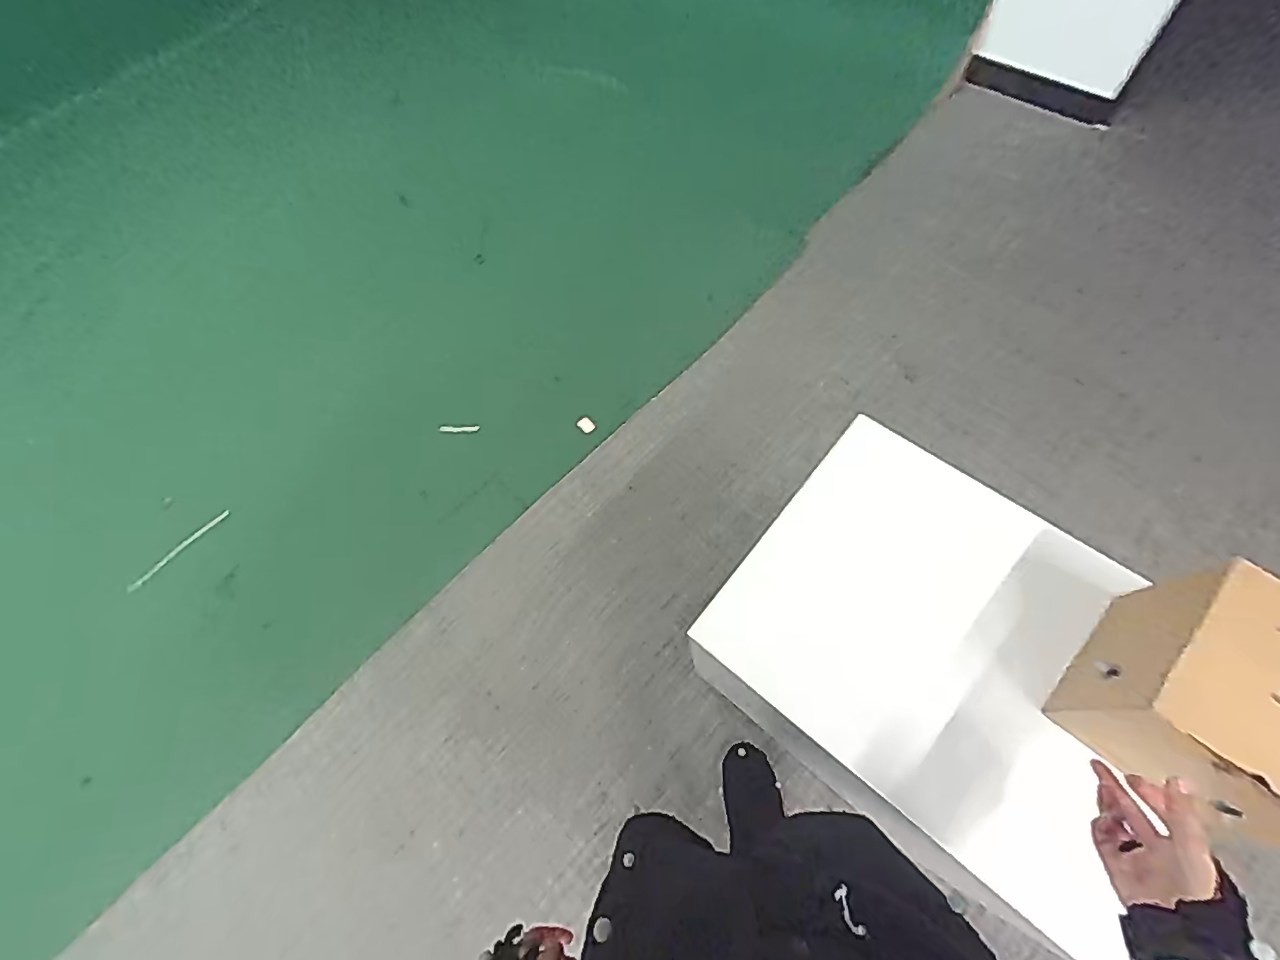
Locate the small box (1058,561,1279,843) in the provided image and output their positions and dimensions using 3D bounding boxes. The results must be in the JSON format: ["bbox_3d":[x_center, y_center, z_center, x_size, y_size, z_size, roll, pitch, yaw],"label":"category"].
[{"bbox_3d":[0.549,0.211,0.510,0.168,0.176,0.179,39,76,21],"label":"small box"}]
